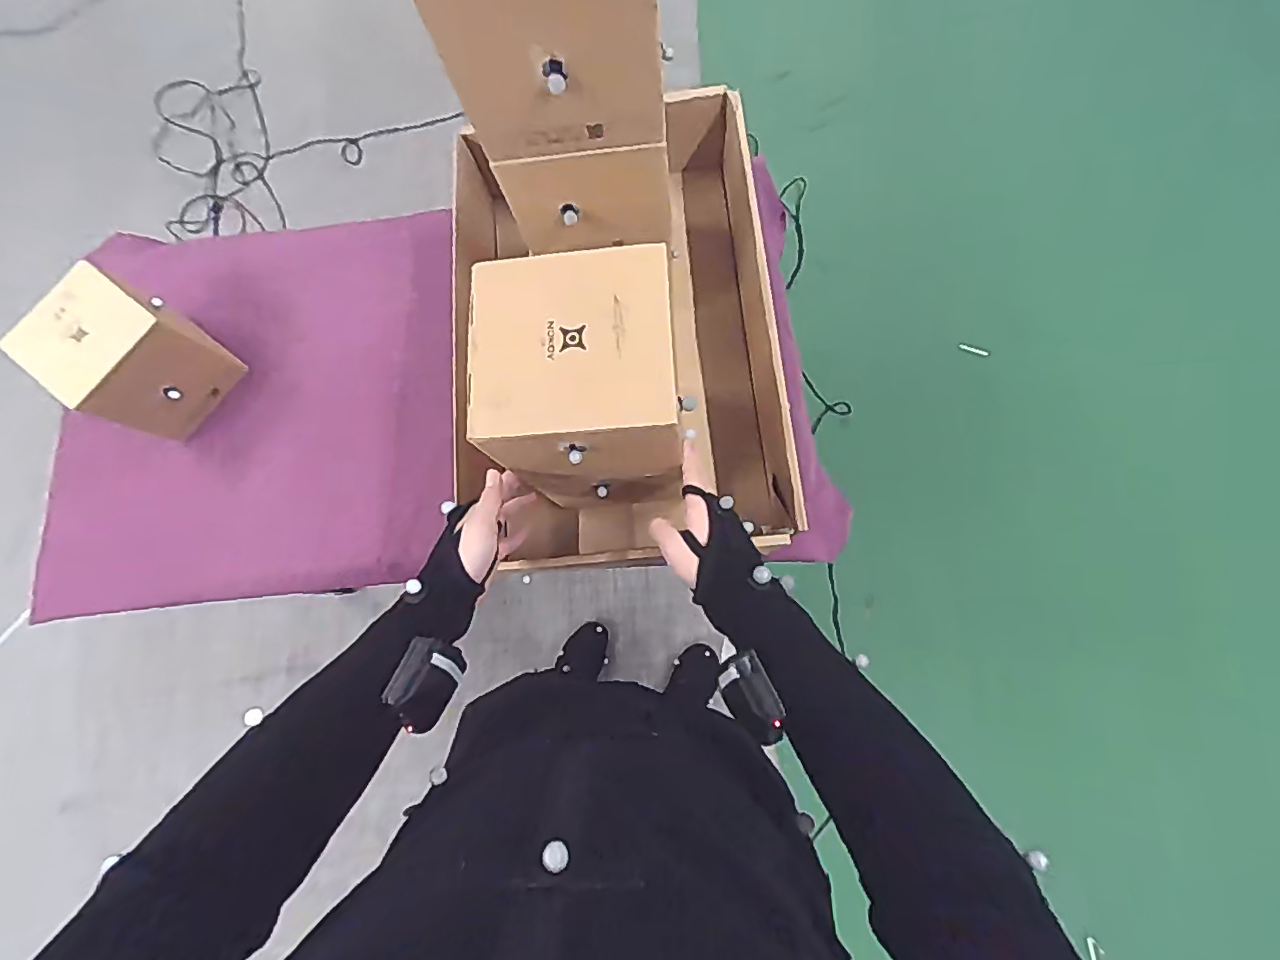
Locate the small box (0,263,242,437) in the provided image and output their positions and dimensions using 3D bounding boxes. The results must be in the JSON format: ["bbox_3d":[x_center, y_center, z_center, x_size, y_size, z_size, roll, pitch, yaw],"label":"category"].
[{"bbox_3d":[-0.774,-0.184,0.827,0.179,0.176,0.168,36,81,11],"label":"small box"}]

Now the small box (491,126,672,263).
[{"bbox_3d":[-0.053,-0.355,0.591,0.168,0.176,0.179,-4,78,5],"label":"small box"}]

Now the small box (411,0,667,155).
[{"bbox_3d":[-0.067,-0.391,0.431,0.168,0.176,0.179,-4,79,4],"label":"small box"}]

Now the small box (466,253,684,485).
[{"bbox_3d":[-0.050,-0.093,0.530,0.179,0.176,0.168,-3,77,5],"label":"small box"}]
